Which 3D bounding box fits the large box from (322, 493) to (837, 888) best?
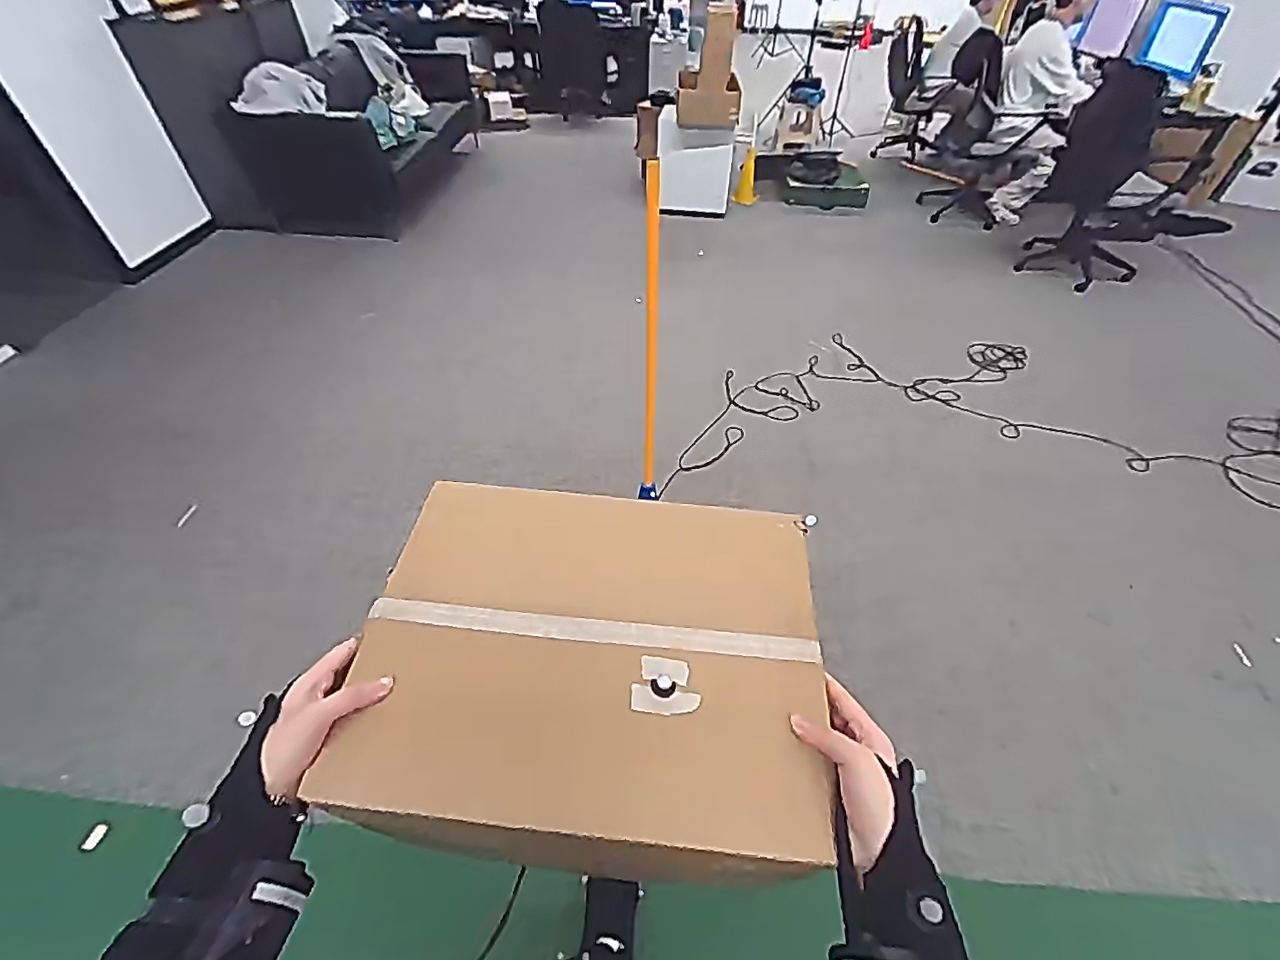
[{"bbox_3d":[-0.044,0.243,0.616,0.408,0.320,0.320,6,49,2],"label":"large box"}]
